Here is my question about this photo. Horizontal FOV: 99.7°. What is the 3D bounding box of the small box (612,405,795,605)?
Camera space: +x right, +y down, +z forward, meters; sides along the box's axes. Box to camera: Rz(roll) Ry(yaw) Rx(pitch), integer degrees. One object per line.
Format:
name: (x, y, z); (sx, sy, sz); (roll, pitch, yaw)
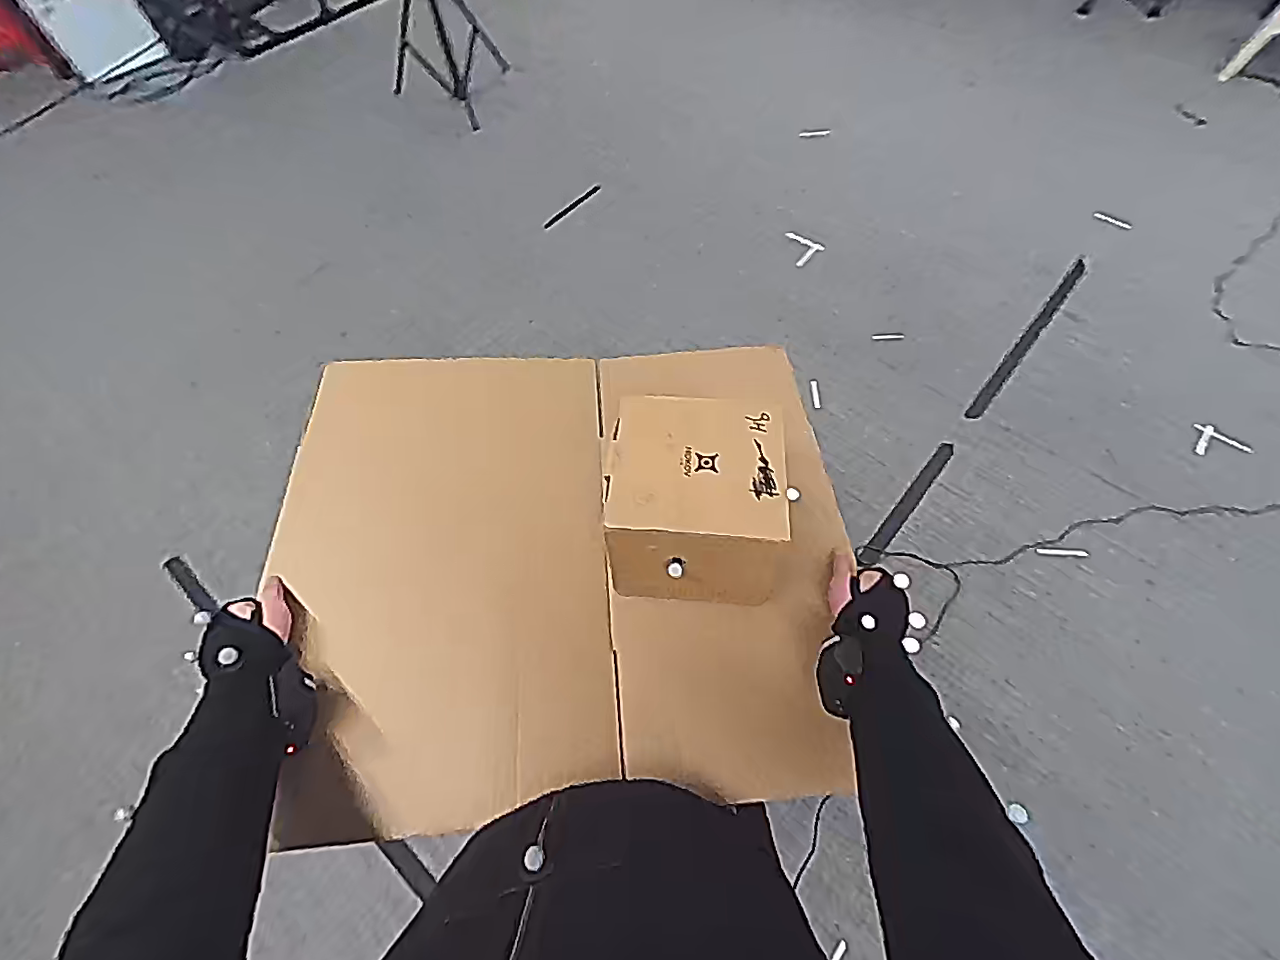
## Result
small box: (0.071, 0.034, 0.616); (0.179, 0.176, 0.168); (4, 58, 6)
